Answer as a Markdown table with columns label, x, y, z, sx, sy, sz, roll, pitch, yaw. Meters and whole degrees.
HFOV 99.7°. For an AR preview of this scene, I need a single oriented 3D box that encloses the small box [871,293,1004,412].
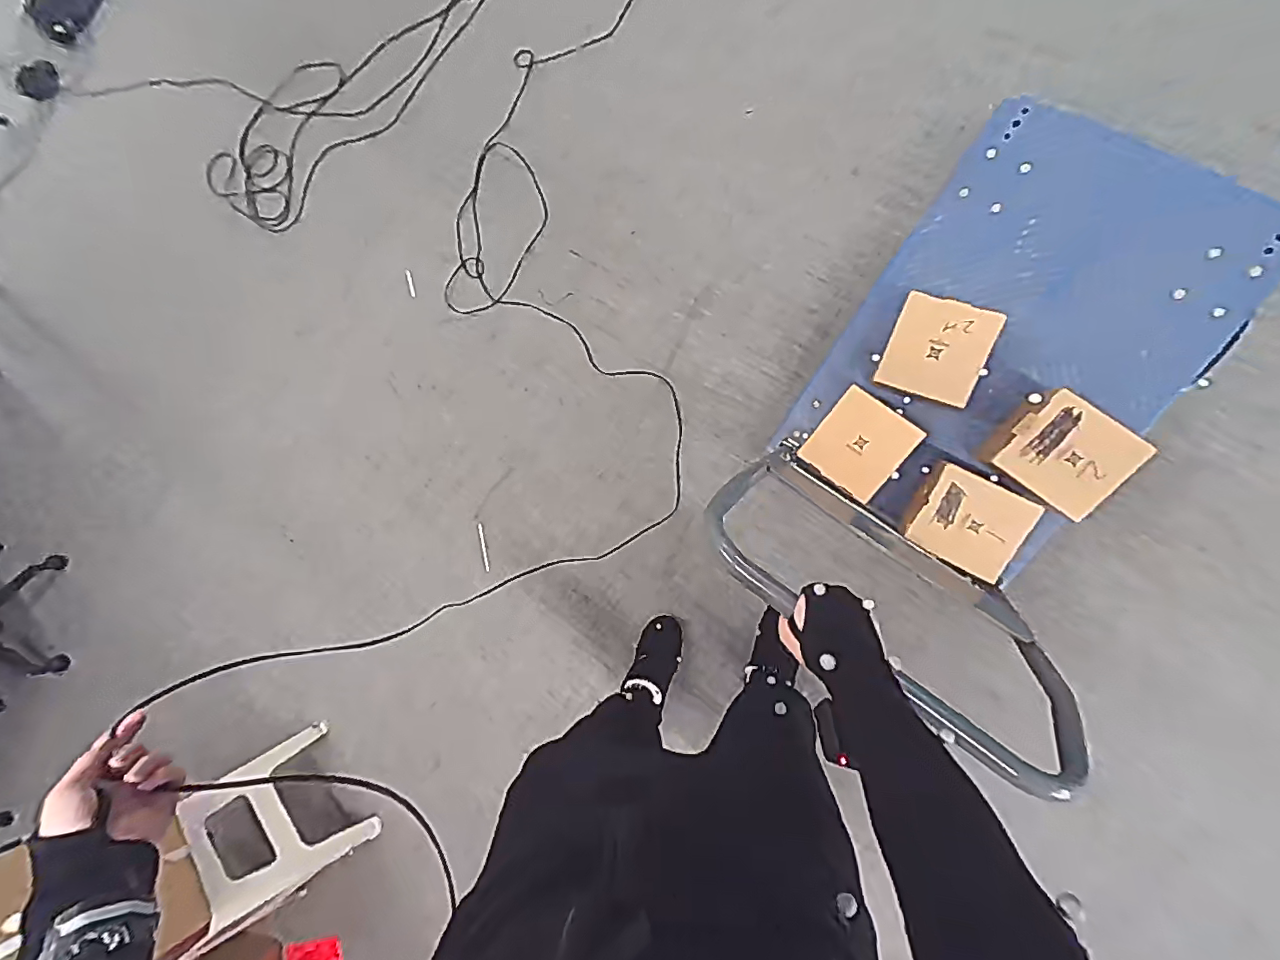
| label | x | y | z | sx | sy | sz | roll | pitch | yaw |
| --- | --- | --- | --- | --- | --- | --- | --- | --- | --- |
| small box | 0.569 | -0.240 | 1.060 | 0.168 | 0.176 | 0.179 | 23 | 103 | 16 |
